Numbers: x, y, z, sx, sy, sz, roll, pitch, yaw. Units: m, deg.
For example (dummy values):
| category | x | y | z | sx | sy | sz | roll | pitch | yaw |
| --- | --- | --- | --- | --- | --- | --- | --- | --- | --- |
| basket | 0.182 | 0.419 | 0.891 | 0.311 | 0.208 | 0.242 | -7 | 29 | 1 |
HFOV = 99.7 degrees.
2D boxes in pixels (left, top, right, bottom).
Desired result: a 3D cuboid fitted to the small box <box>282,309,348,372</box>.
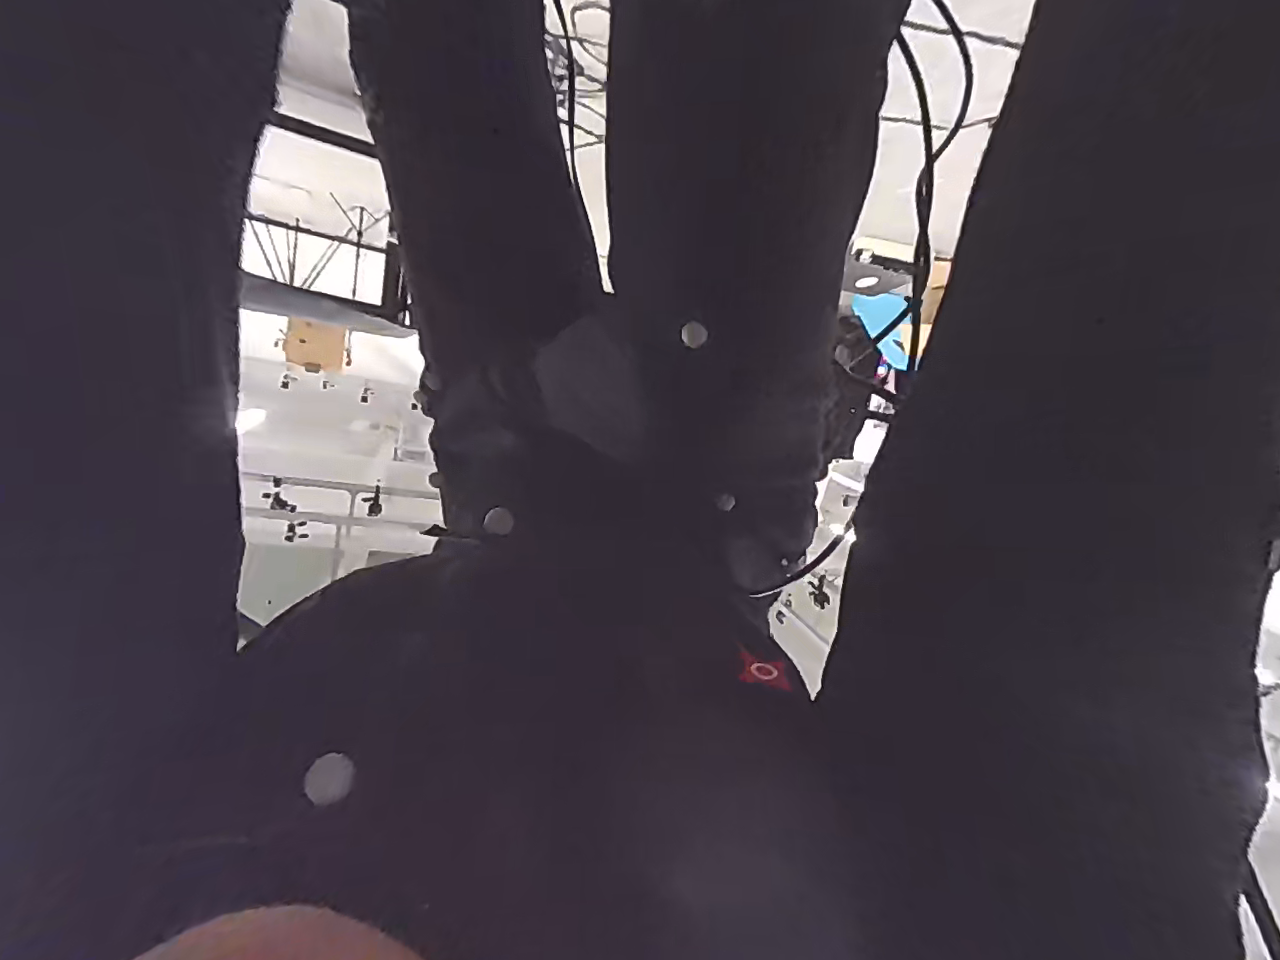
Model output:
| category | x | y | z | sx | sy | sz | roll | pitch | yaw |
| --- | --- | --- | --- | --- | --- | --- | --- | --- | --- |
| small box | -1.090 | -0.473 | 1.819 | 0.168 | 0.176 | 0.179 | 8 | -163 | -26 |
